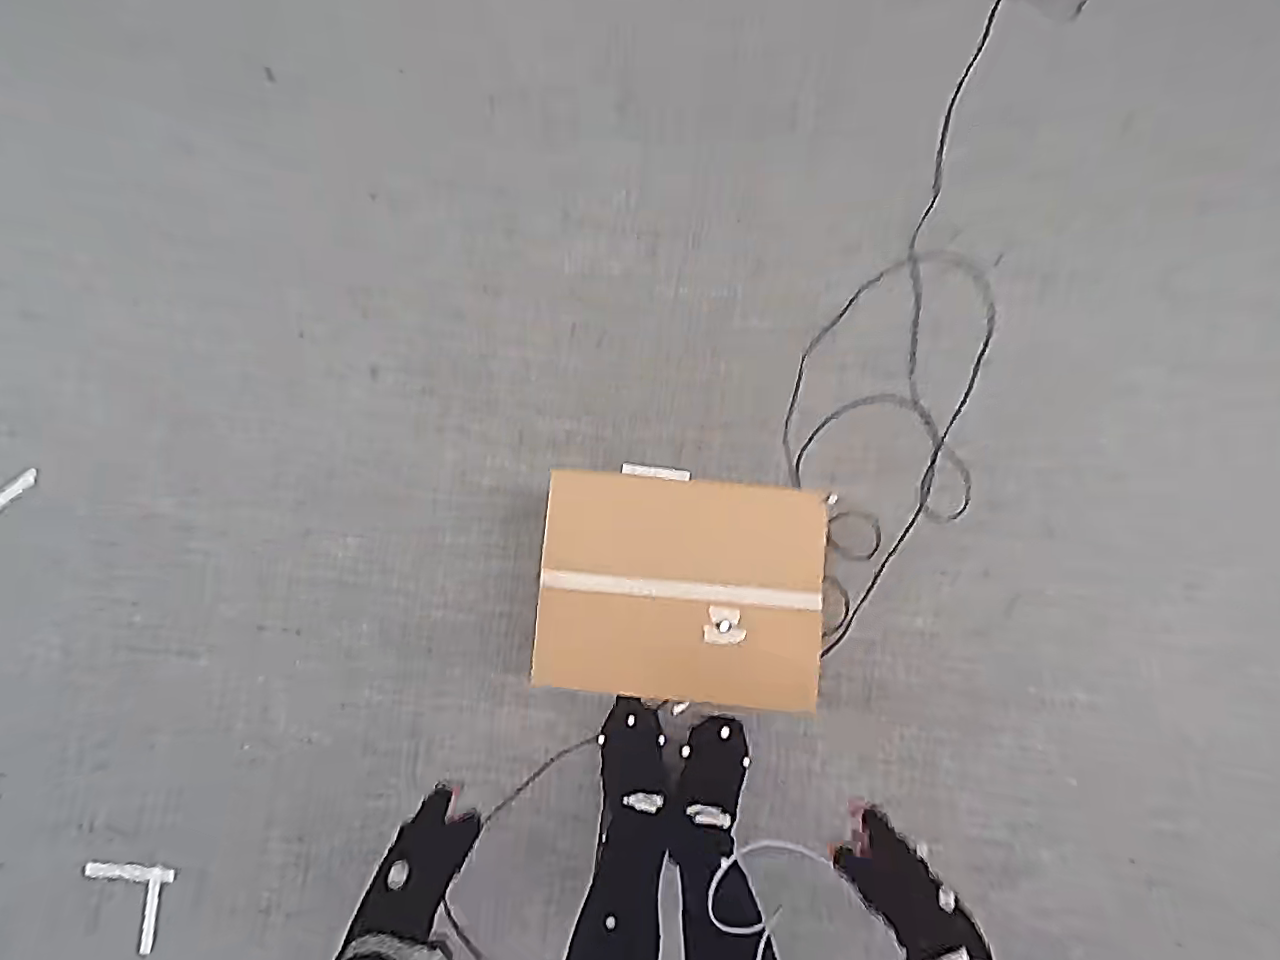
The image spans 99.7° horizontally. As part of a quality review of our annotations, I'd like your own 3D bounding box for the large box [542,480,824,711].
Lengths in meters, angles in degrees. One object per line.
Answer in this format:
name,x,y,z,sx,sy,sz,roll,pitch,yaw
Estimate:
large box,0.066,0.180,0.938,0.408,0.320,0.320,5,85,2
